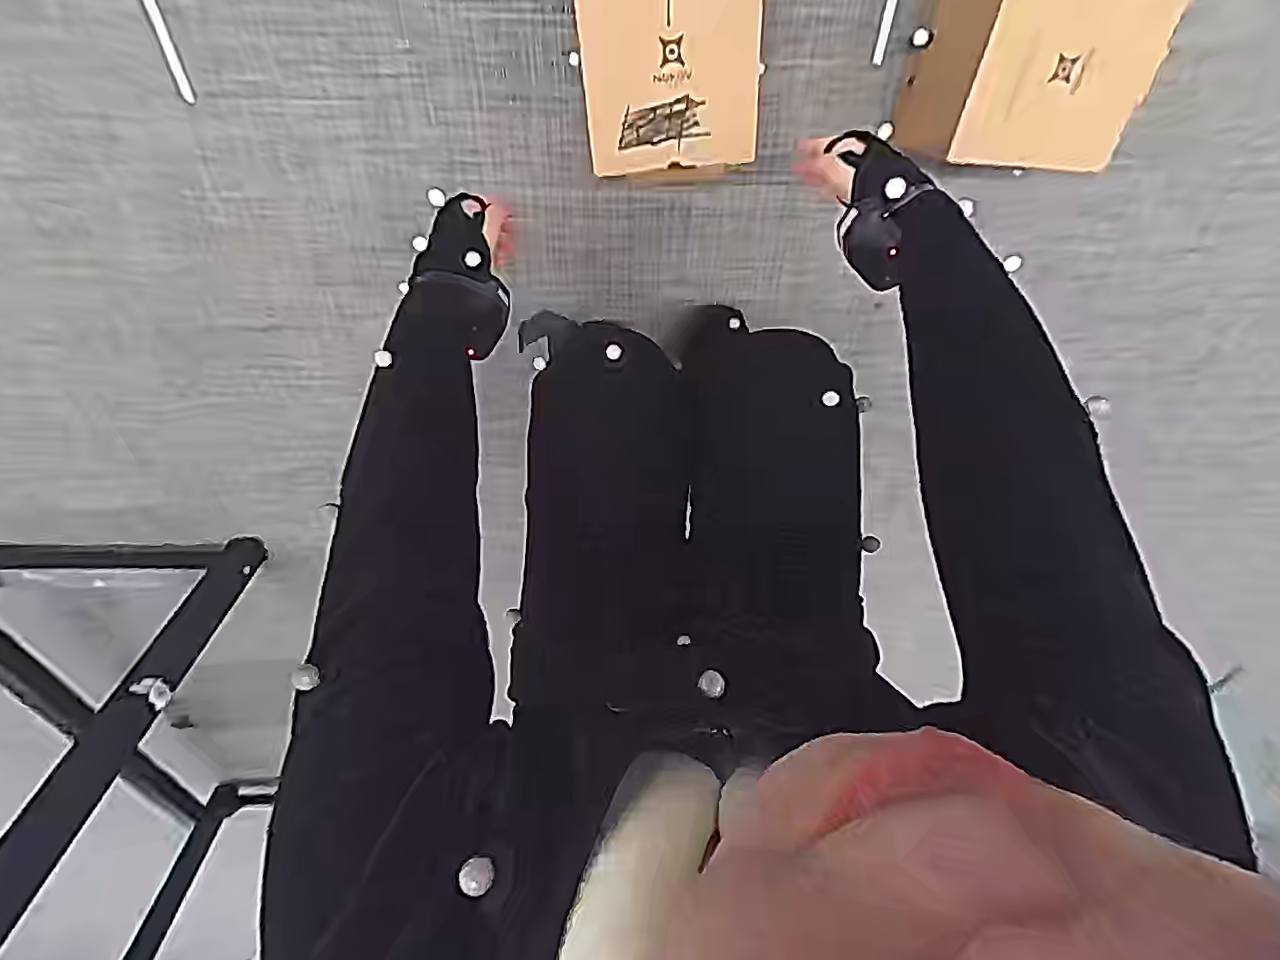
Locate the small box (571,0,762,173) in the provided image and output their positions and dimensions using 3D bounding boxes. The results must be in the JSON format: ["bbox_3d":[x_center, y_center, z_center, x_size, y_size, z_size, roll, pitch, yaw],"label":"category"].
[{"bbox_3d":[0.023,-0.431,0.546,0.168,0.176,0.179,-5,129,1],"label":"small box"}]

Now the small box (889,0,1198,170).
[{"bbox_3d":[0.398,-0.437,0.563,0.179,0.176,0.168,2,129,-4],"label":"small box"}]
